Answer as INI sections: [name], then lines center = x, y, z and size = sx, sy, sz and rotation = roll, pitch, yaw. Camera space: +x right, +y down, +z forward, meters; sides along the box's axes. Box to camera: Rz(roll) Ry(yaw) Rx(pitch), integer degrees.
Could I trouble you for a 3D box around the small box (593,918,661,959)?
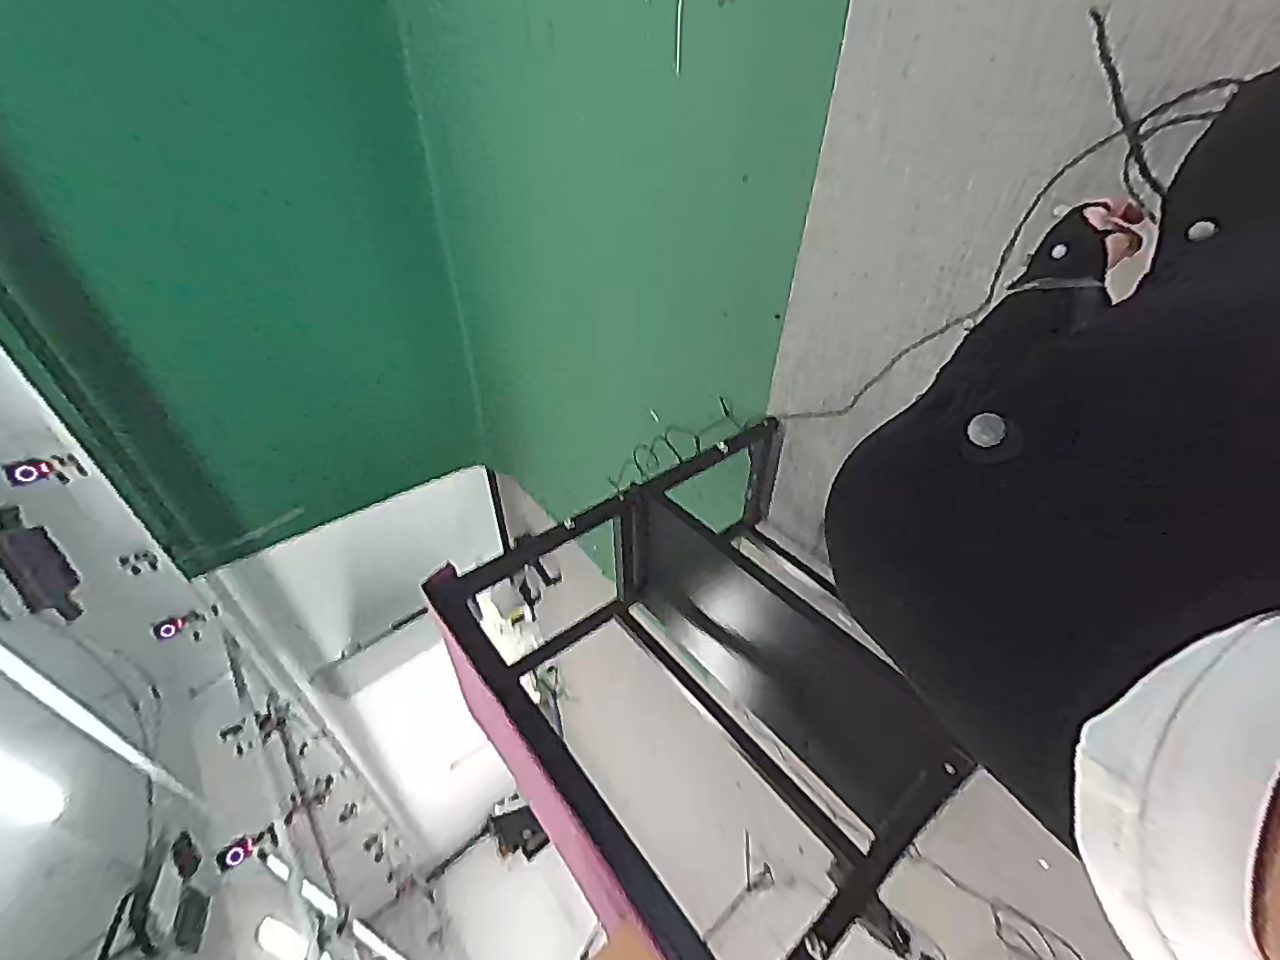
[small box]
center = -0.022, 0.944, 0.963
size = 0.179, 0.176, 0.168
rotation = 39, 142, 34
